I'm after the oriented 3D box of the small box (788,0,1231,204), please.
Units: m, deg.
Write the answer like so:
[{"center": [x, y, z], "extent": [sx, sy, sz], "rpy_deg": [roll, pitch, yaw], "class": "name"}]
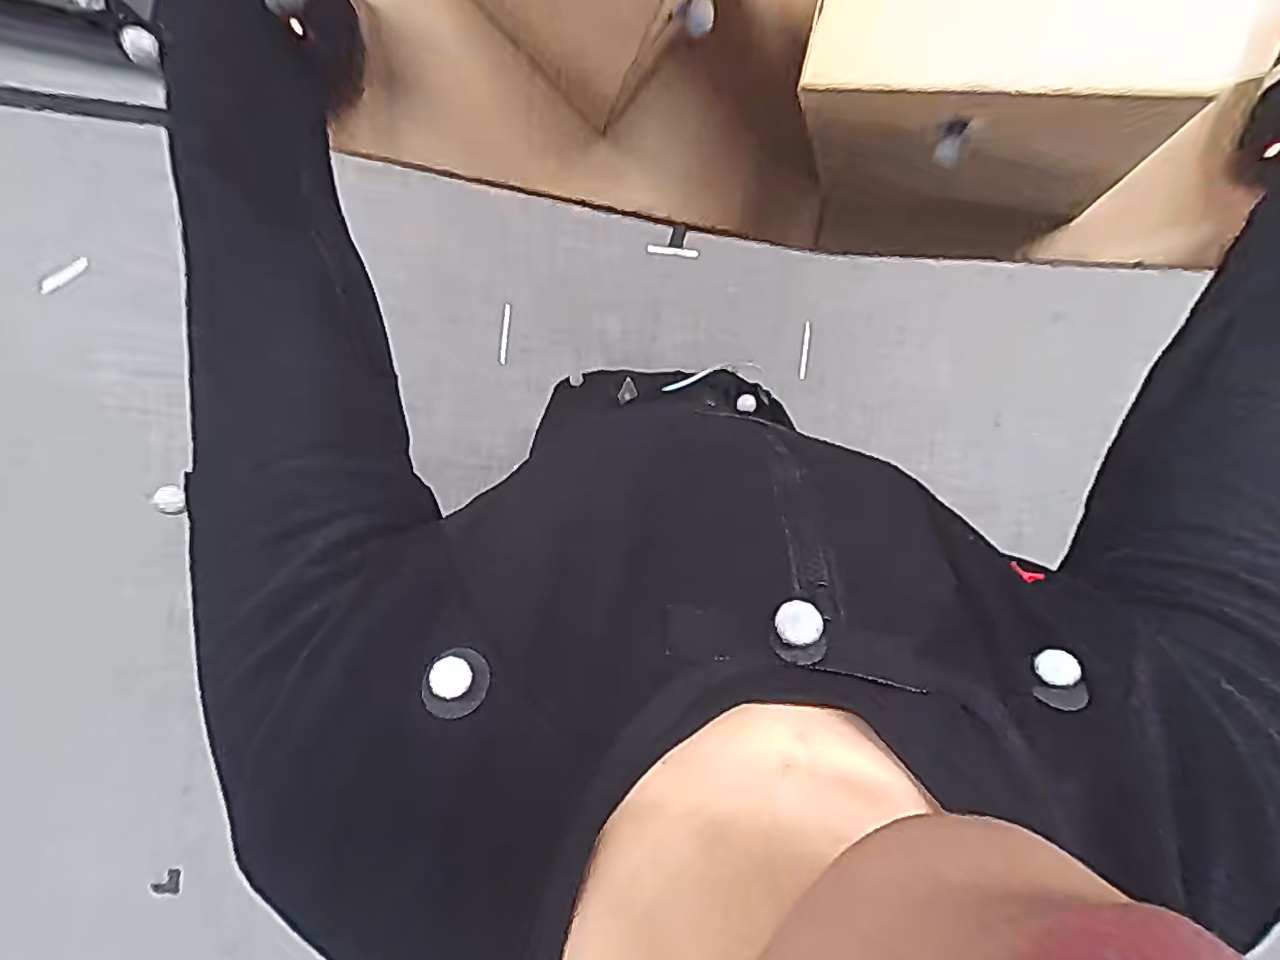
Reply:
[{"center": [0.204, -0.274, 0.309], "extent": [0.179, 0.176, 0.168], "rpy_deg": [18, 105, 21], "class": "small box"}]
